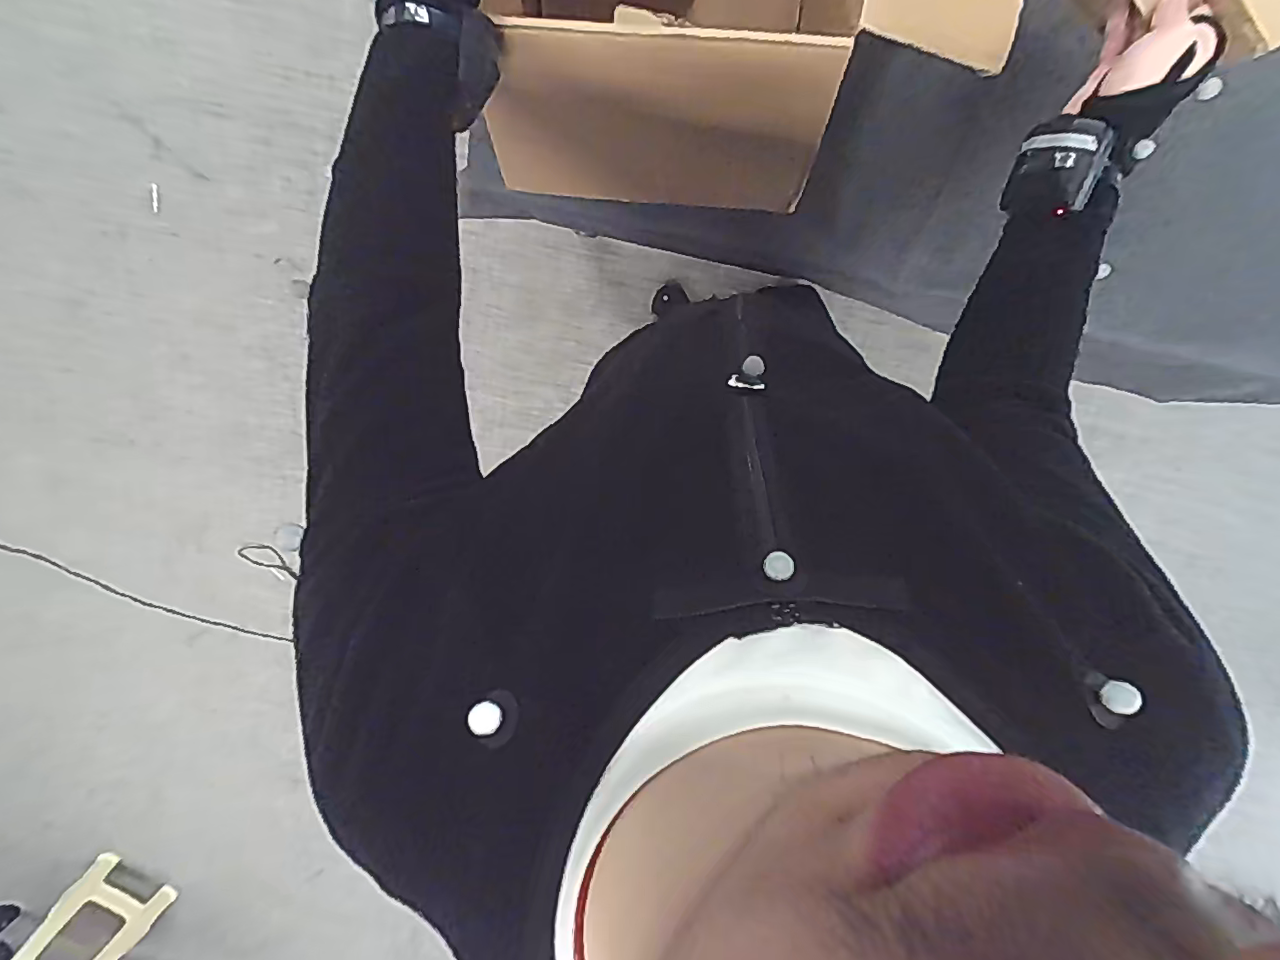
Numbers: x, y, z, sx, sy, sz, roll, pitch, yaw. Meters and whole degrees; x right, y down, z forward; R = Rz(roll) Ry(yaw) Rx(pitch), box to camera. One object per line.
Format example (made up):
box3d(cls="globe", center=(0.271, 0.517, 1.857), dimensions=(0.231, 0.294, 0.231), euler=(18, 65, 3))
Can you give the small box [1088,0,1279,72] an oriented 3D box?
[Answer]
box3d(cls="small box", center=(0.475, -0.463, 0.417), dimensions=(0.168, 0.176, 0.179), euler=(41, 118, -14))
